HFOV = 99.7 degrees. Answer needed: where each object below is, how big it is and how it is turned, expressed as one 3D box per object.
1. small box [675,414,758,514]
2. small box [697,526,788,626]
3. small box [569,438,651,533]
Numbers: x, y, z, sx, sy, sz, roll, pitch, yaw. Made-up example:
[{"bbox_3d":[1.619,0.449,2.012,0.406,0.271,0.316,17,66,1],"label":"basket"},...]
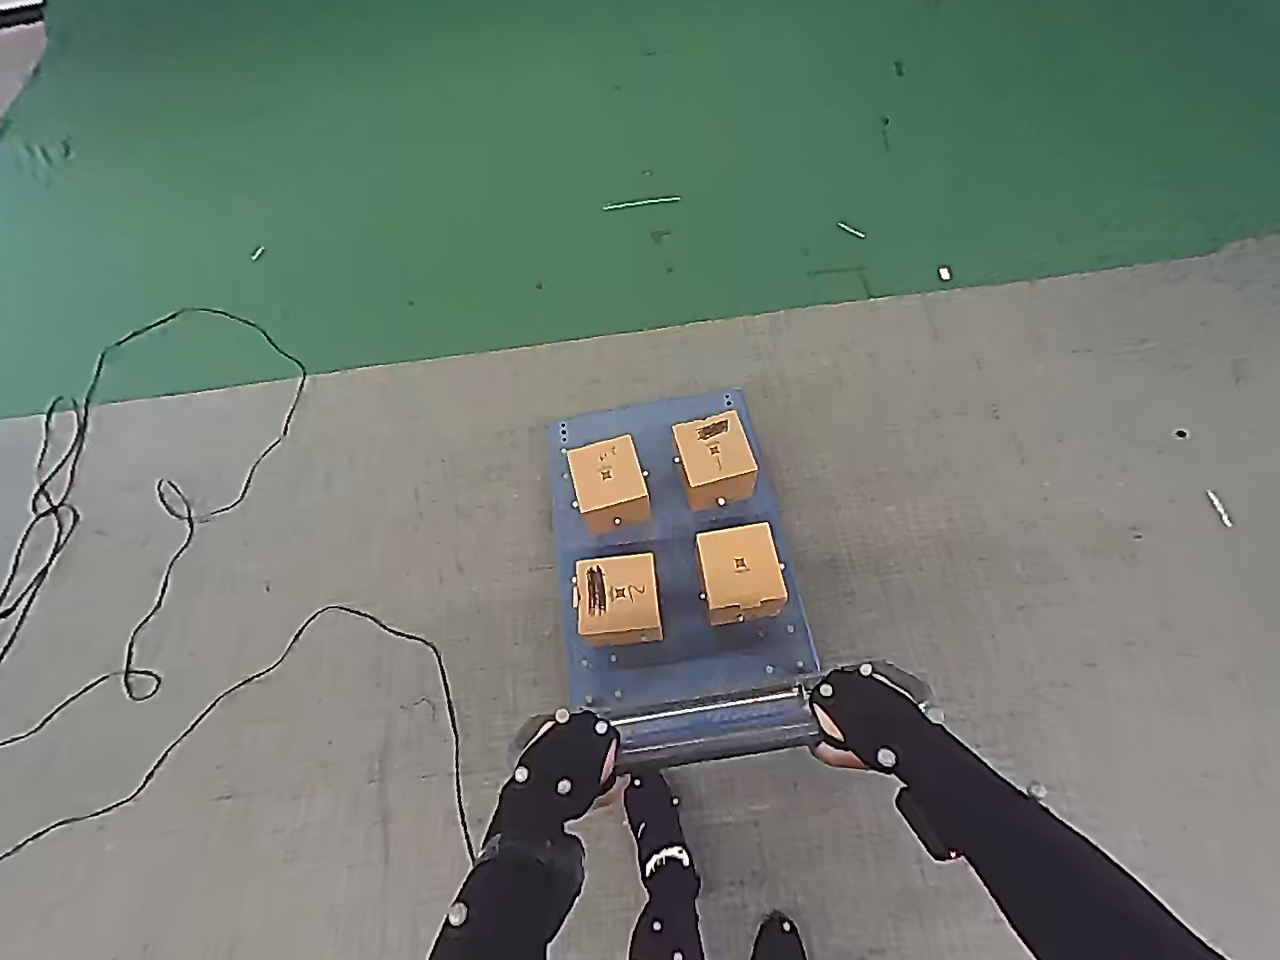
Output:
[{"bbox_3d":[0.187,-0.037,1.376,0.168,0.176,0.179,-14,65,-1],"label":"small box"},{"bbox_3d":[0.226,0.225,1.248,0.168,0.176,0.179,-9,64,1],"label":"small box"},{"bbox_3d":[-0.072,0.023,1.371,0.168,0.176,0.179,-15,64,-3],"label":"small box"}]
